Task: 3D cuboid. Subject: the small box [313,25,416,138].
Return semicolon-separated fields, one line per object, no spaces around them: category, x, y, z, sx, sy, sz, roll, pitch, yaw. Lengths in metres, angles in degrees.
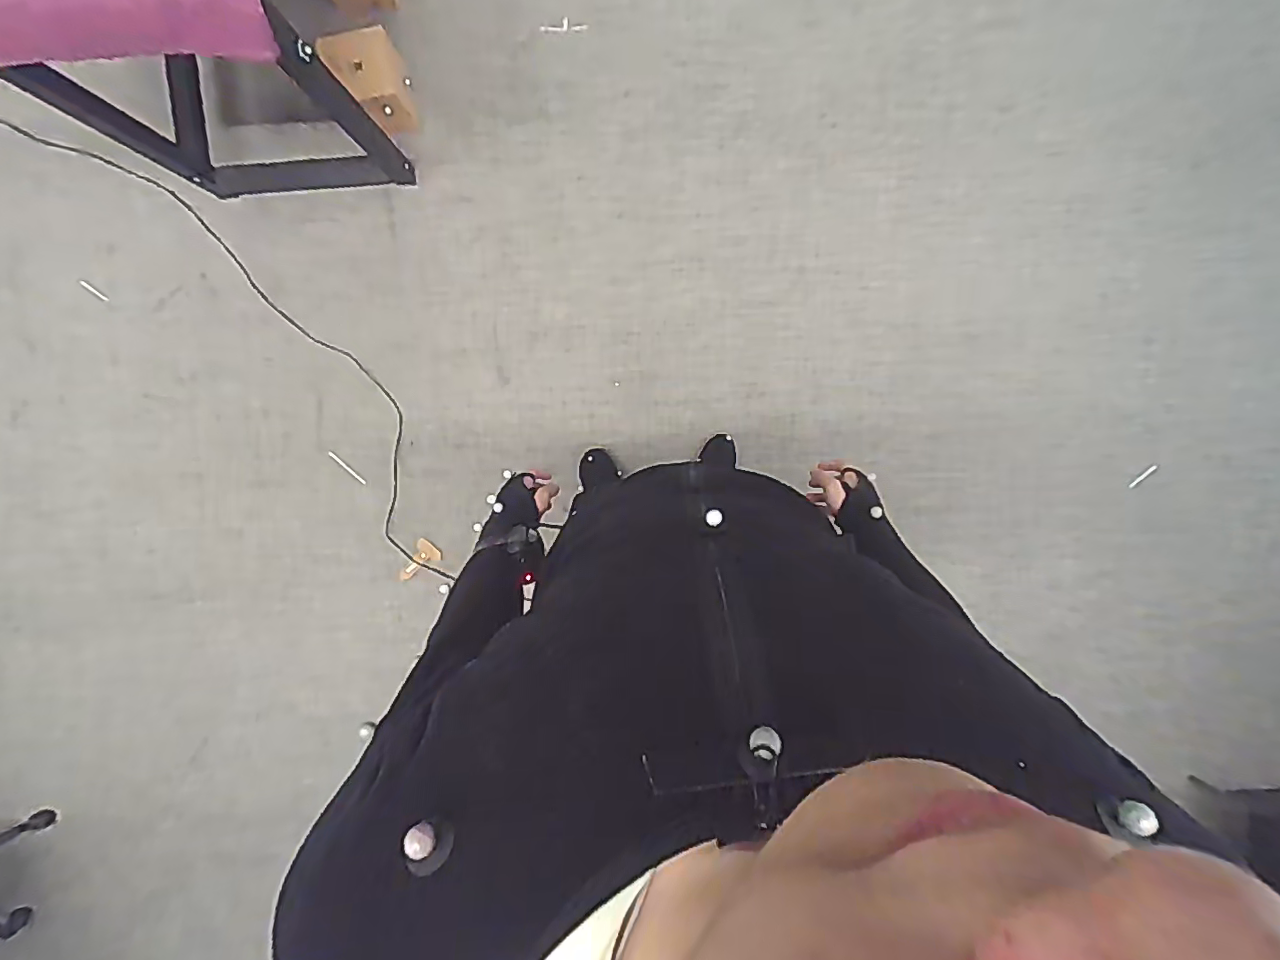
small box;-0.716;-1.046;1.432;0.179;0.176;0.168;-11;95;1
